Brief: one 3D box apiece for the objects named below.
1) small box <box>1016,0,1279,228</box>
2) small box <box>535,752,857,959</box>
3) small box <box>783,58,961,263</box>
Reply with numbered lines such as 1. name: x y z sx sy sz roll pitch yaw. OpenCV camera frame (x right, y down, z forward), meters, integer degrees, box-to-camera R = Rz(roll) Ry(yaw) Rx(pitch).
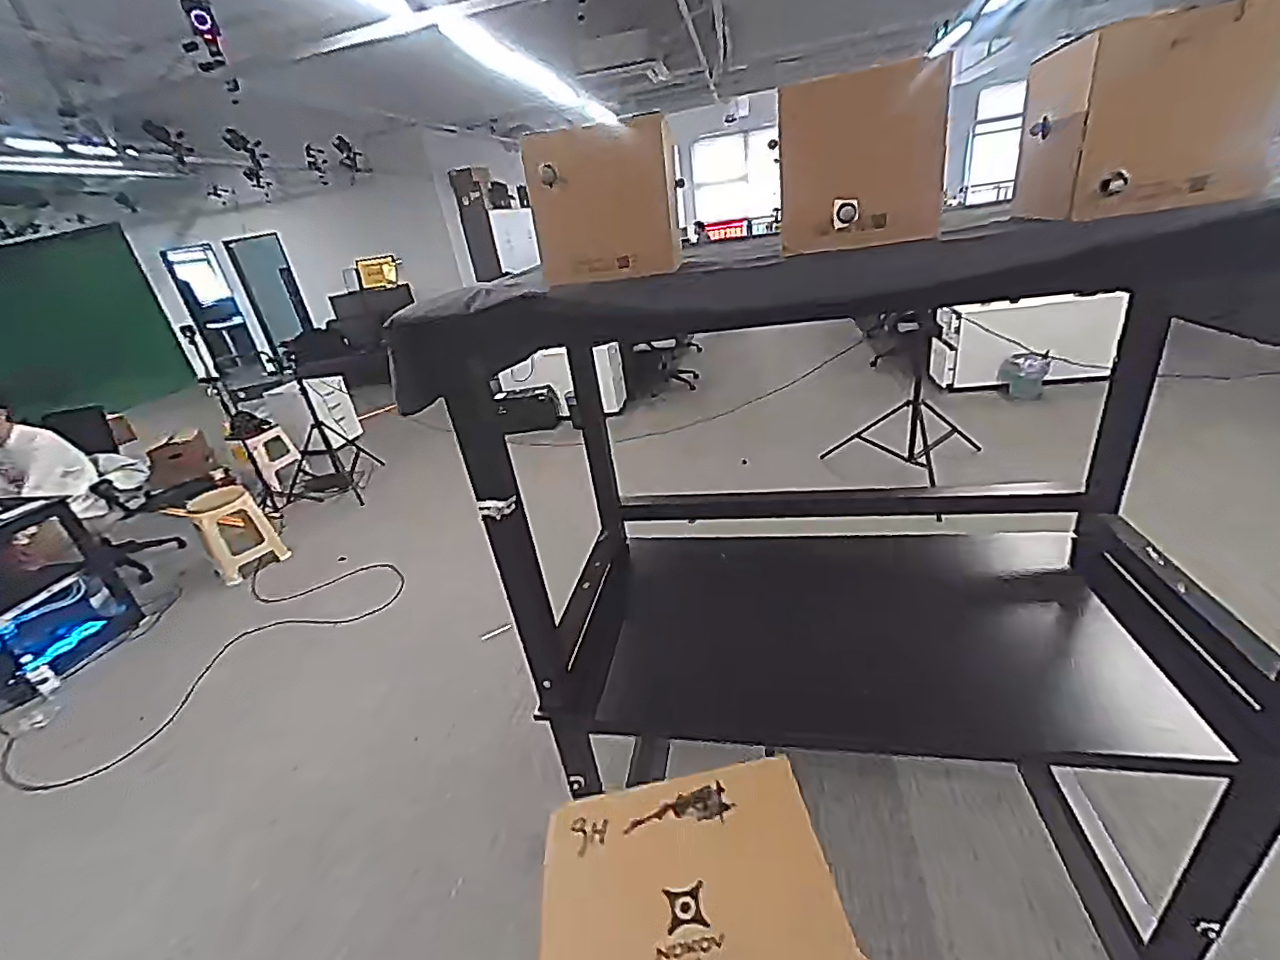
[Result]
1. small box: 0.531 -0.370 0.574 0.168 0.176 0.179 -1 25 15
2. small box: 0.042 0.305 0.317 0.168 0.176 0.179 -13 25 2
3. small box: 0.254 -0.355 0.633 0.168 0.176 0.179 -2 25 16
